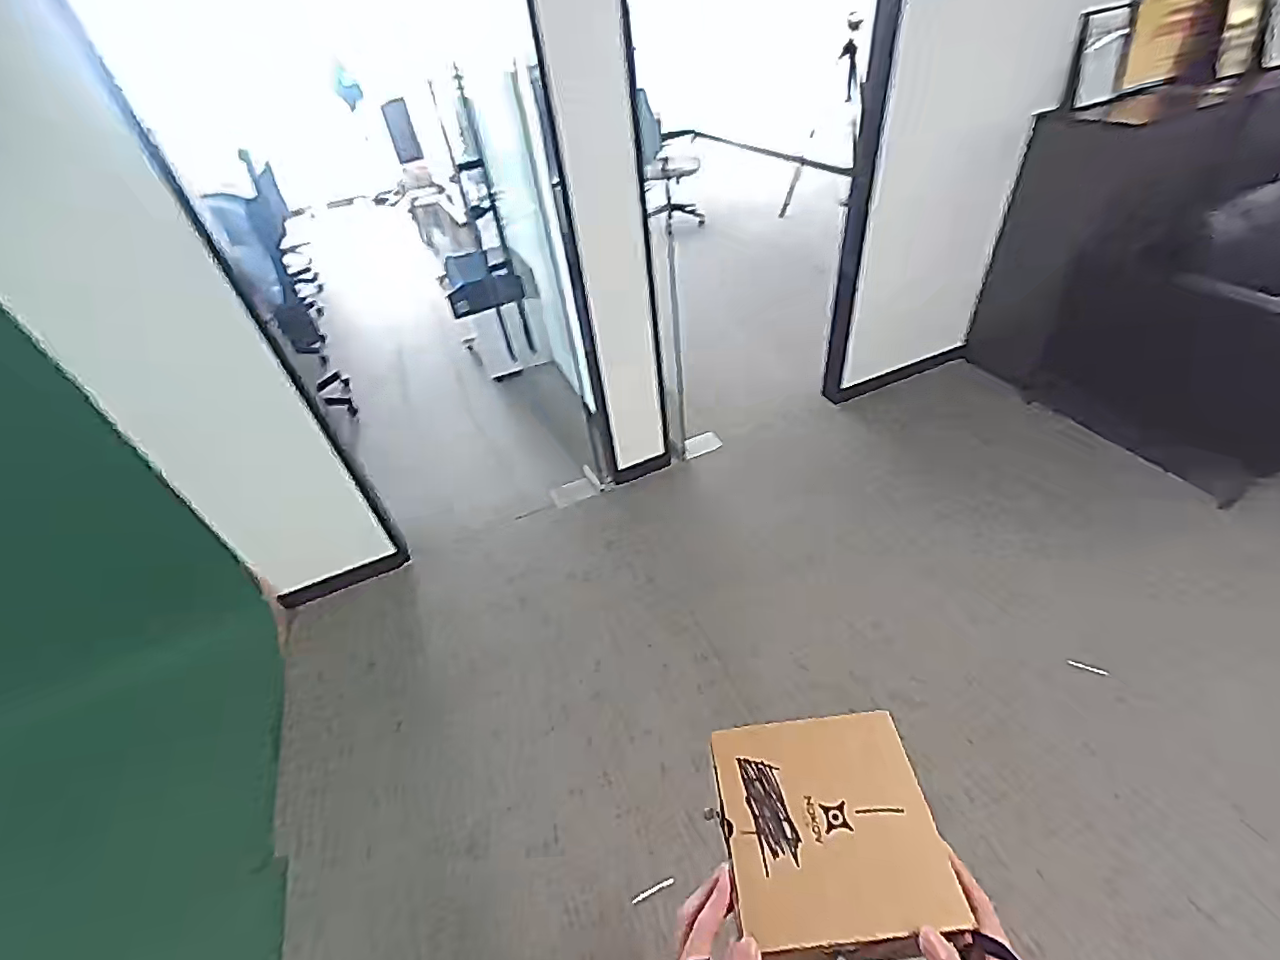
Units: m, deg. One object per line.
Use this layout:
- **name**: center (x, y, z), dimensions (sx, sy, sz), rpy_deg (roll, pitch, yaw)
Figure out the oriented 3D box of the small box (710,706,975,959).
- **small box**: center (0.167, 0.339, 0.511), dimensions (0.179, 0.176, 0.168), rpy_deg (-7, 43, 1)
